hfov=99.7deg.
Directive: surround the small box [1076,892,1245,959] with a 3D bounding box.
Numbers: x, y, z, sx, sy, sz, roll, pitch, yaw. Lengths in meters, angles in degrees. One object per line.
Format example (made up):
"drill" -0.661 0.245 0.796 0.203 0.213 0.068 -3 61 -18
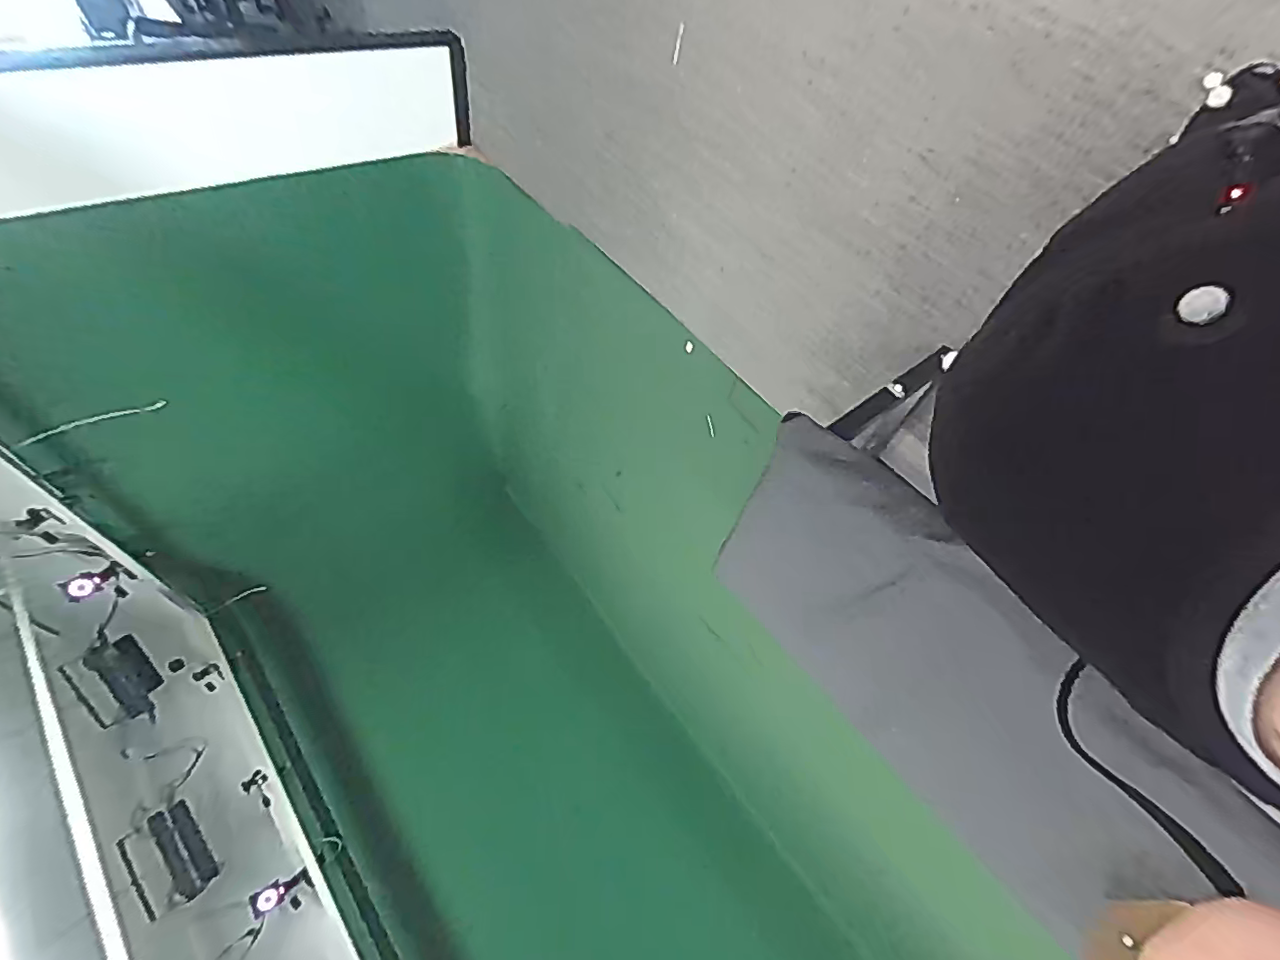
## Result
"small box" 0.922 0.862 0.945 0.168 0.176 0.179 45 147 23
